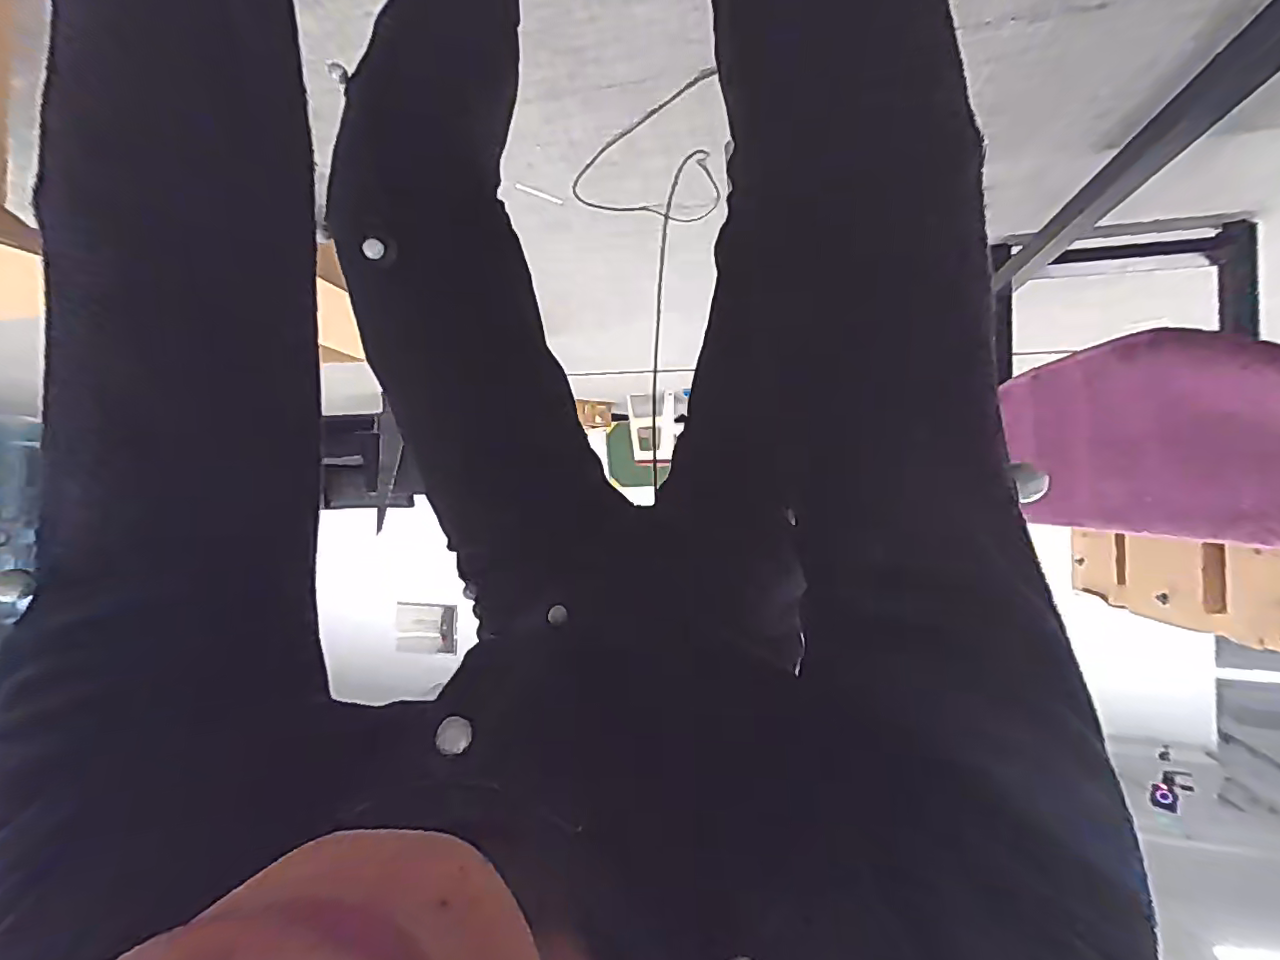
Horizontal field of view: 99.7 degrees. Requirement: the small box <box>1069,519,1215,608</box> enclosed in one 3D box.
[{"bbox_3d":[1.059,0.171,1.155,0.179,0.176,0.168,-1,179,12],"label":"small box"}]
